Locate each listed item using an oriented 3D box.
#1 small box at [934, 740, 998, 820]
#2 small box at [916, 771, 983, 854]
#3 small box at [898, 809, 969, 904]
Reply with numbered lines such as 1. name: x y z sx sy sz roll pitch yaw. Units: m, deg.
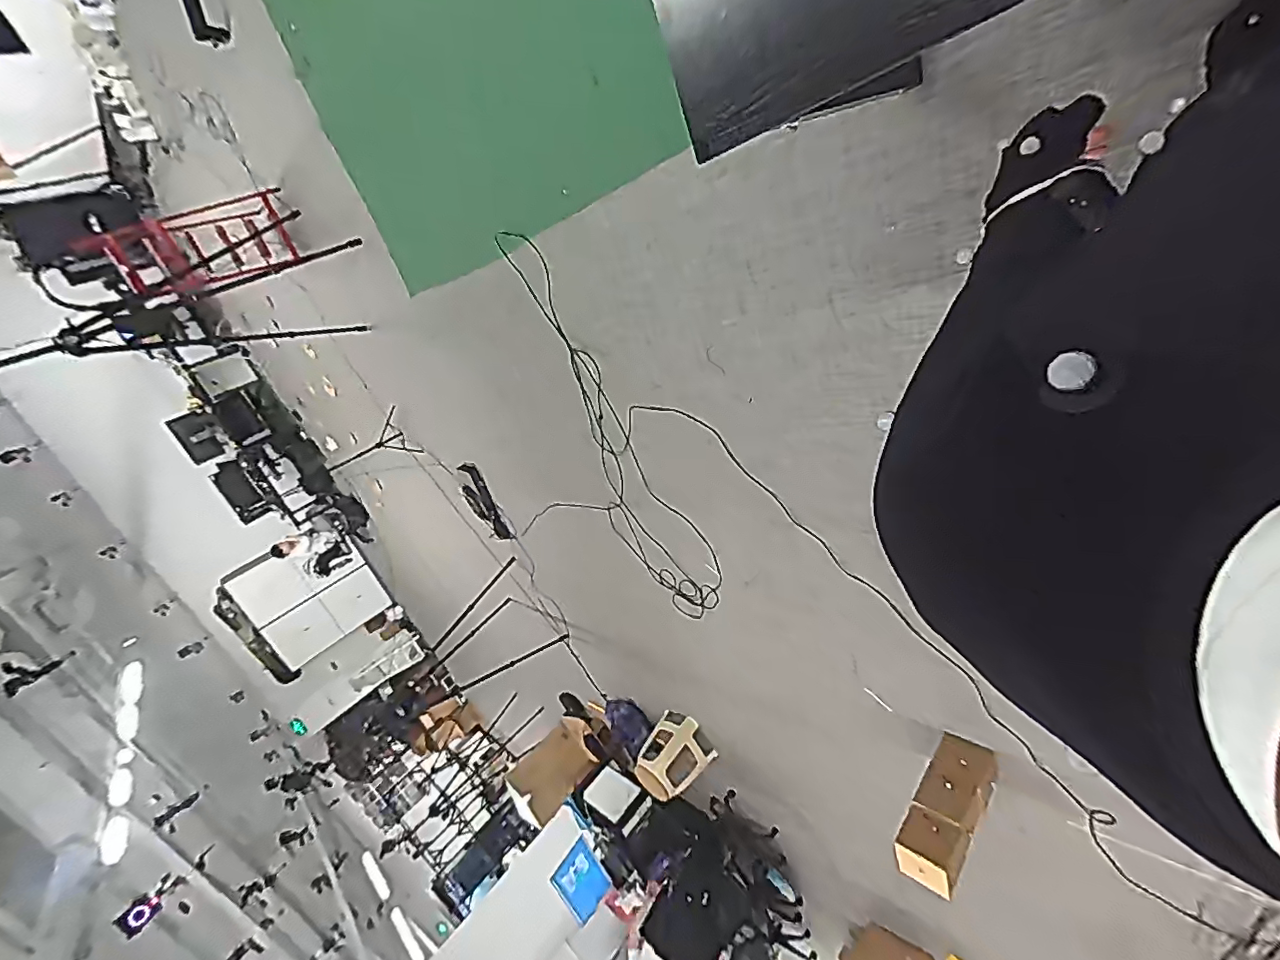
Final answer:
1. small box: 1.235 1.122 2.041 0.179 0.176 0.168 6 125 47
2. small box: 1.122 1.204 1.954 0.168 0.176 0.179 8 125 47
3. small box: 1.018 1.293 1.867 0.168 0.176 0.179 7 125 47
